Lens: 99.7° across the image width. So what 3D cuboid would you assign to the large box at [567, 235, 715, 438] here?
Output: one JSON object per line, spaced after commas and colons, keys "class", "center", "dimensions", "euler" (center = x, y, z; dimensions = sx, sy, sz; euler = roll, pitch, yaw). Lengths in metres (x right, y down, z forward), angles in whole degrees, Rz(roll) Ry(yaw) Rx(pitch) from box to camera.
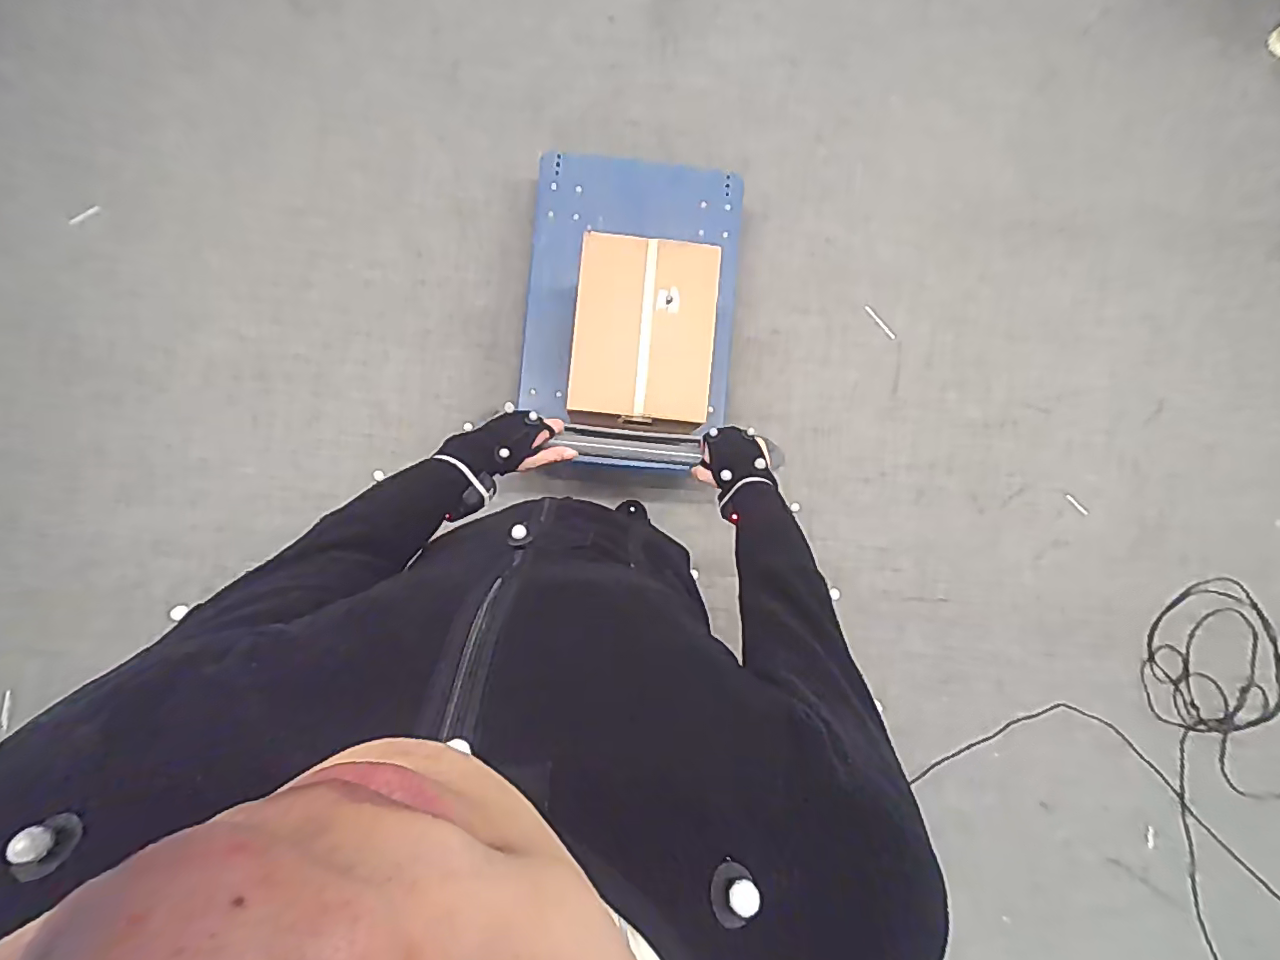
{"class": "large box", "center": [-0.004, -0.329, 1.348], "dimensions": [0.320, 0.320, 0.408], "euler": [5, 86, -5]}
